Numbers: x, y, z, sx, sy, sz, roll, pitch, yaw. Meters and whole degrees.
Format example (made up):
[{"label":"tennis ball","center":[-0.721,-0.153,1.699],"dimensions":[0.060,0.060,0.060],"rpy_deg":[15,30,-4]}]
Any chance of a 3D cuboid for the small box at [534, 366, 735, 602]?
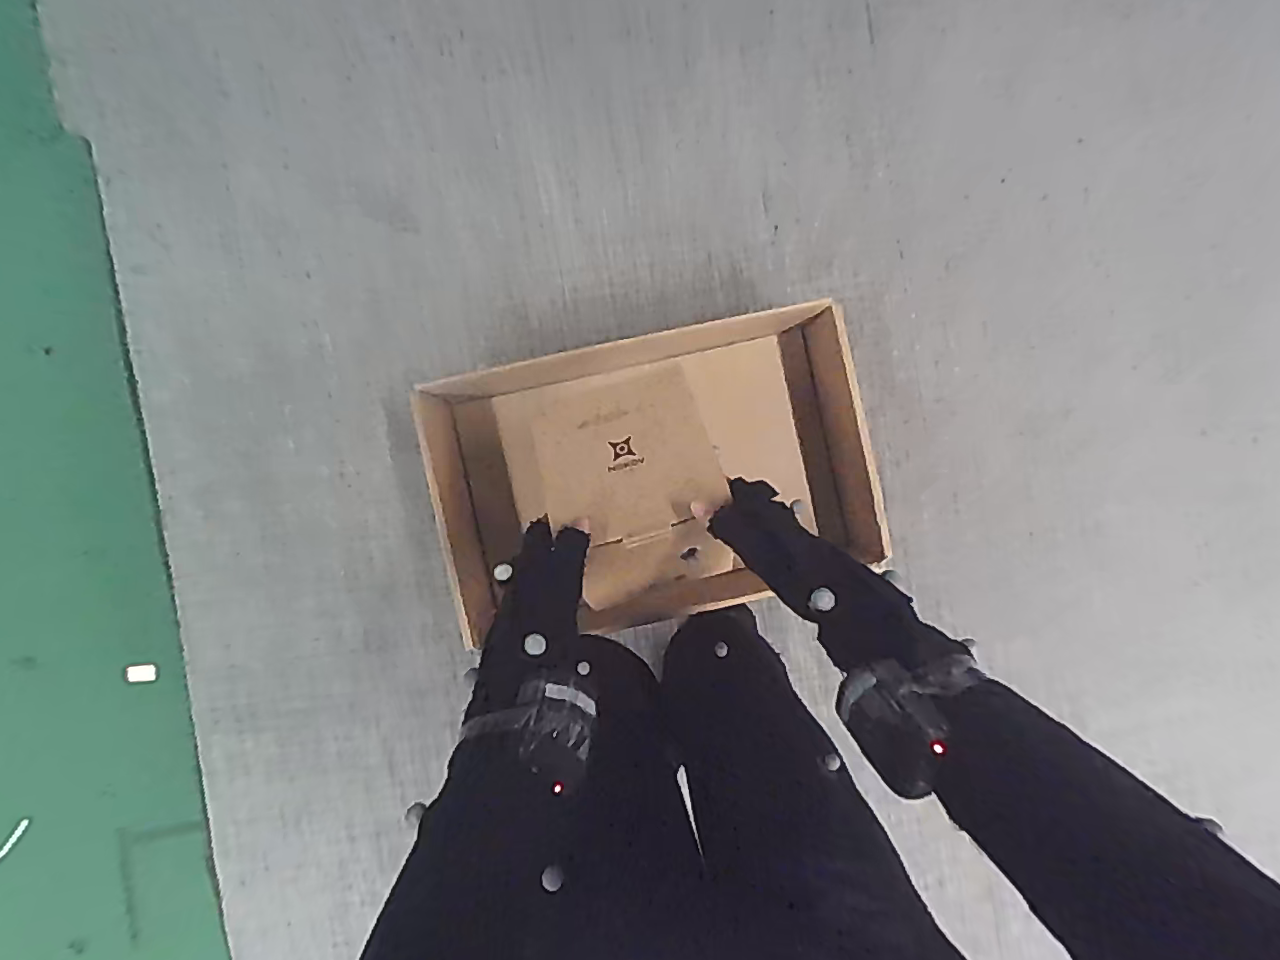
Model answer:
[{"label":"small box","center":[-0.001,0.015,0.575],"dimensions":[0.168,0.176,0.179],"rpy_deg":[-15,57,1]}]
